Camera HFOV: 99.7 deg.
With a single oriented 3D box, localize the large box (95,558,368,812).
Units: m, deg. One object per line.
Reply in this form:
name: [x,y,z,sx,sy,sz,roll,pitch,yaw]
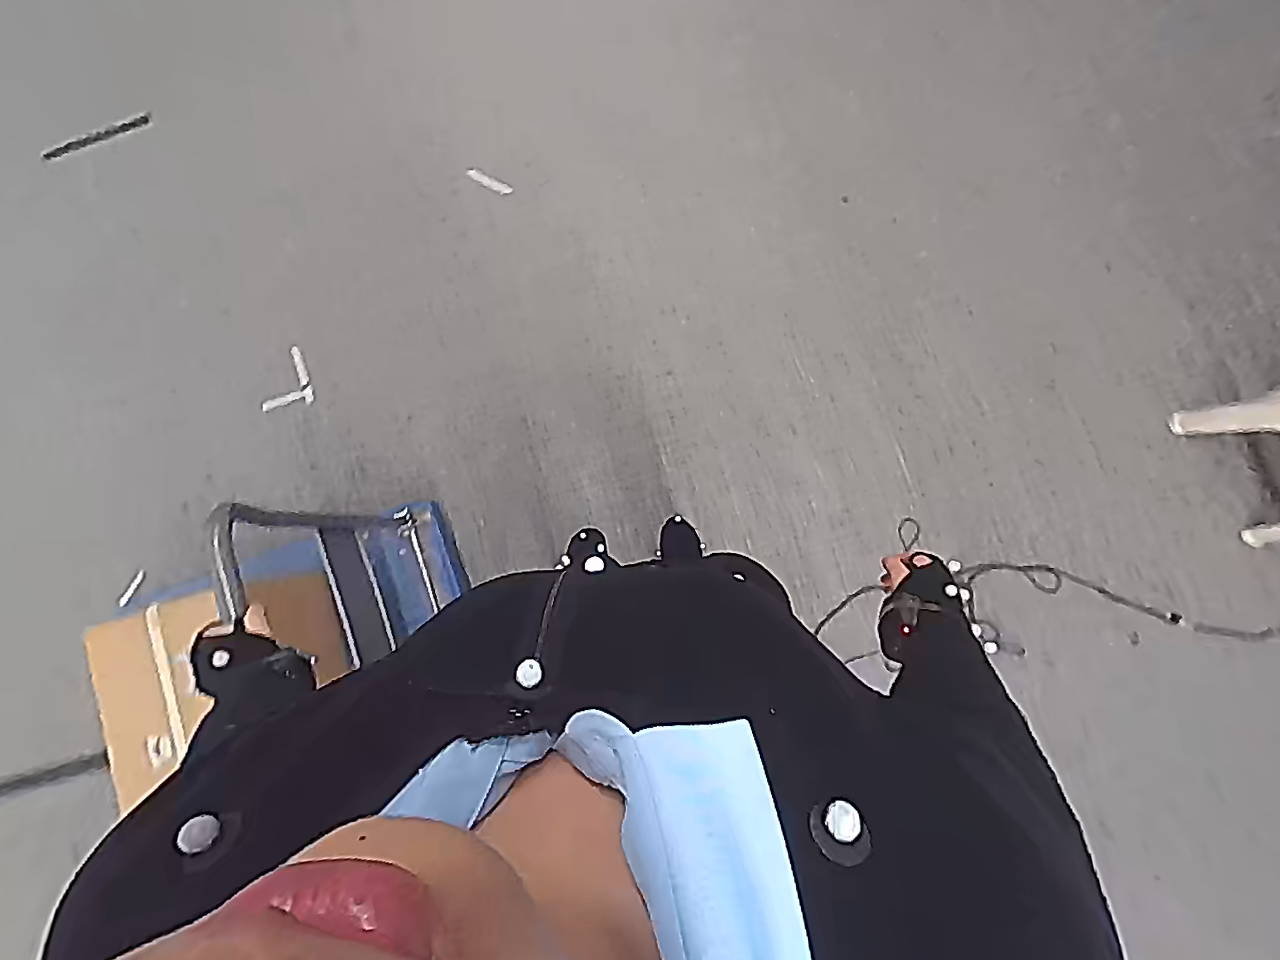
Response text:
large box: [-0.875,0.421,1.206,0.320,0.320,0.408,-17,87,2]
